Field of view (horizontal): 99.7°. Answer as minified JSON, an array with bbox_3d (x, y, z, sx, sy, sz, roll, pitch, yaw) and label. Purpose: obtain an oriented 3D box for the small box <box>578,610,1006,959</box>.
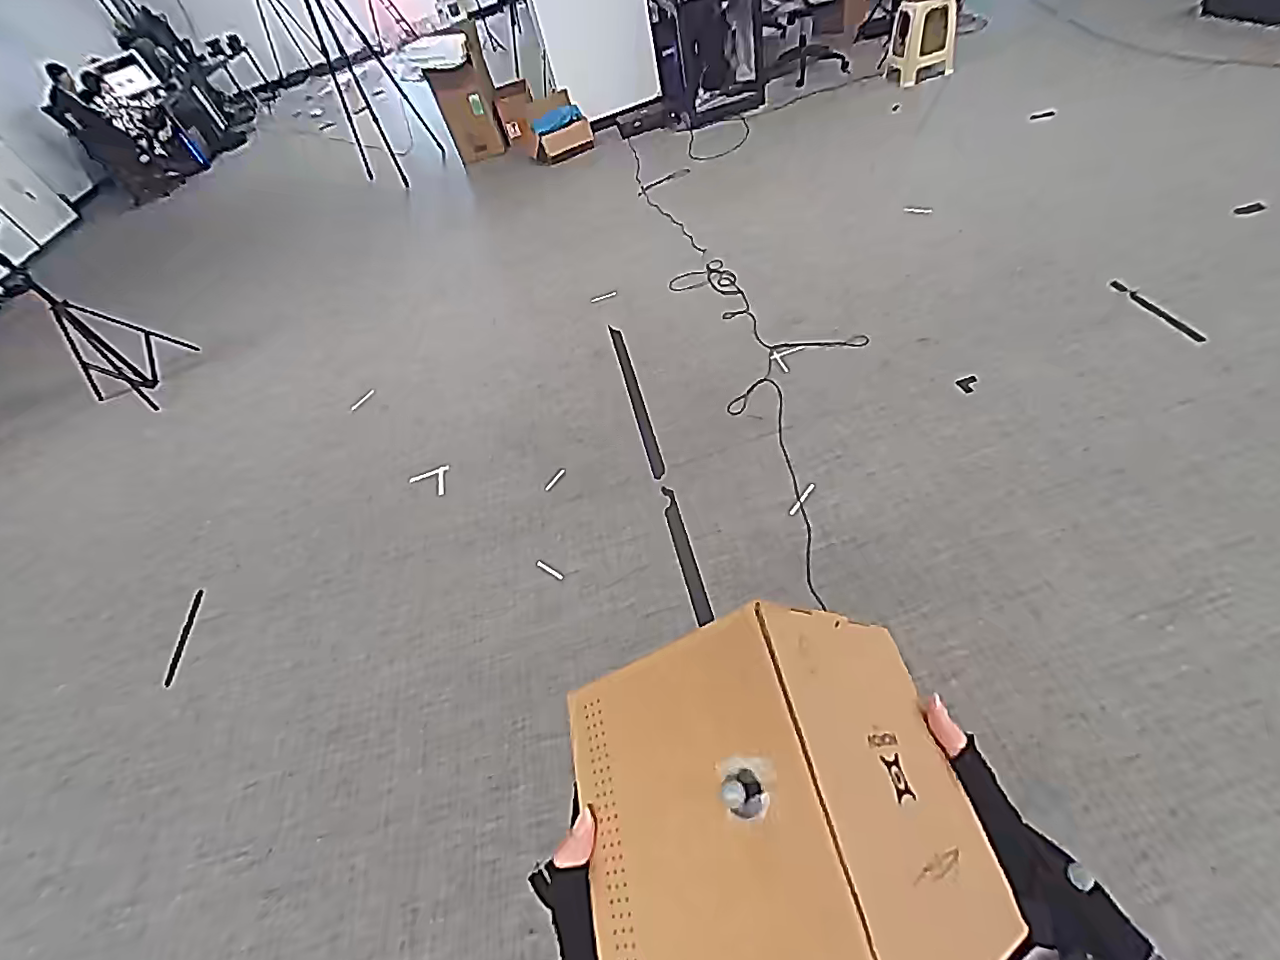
[{"bbox_3d":[0.077,0.205,0.340,0.176,0.168,0.179,-38,49,32],"label":"small box"}]
